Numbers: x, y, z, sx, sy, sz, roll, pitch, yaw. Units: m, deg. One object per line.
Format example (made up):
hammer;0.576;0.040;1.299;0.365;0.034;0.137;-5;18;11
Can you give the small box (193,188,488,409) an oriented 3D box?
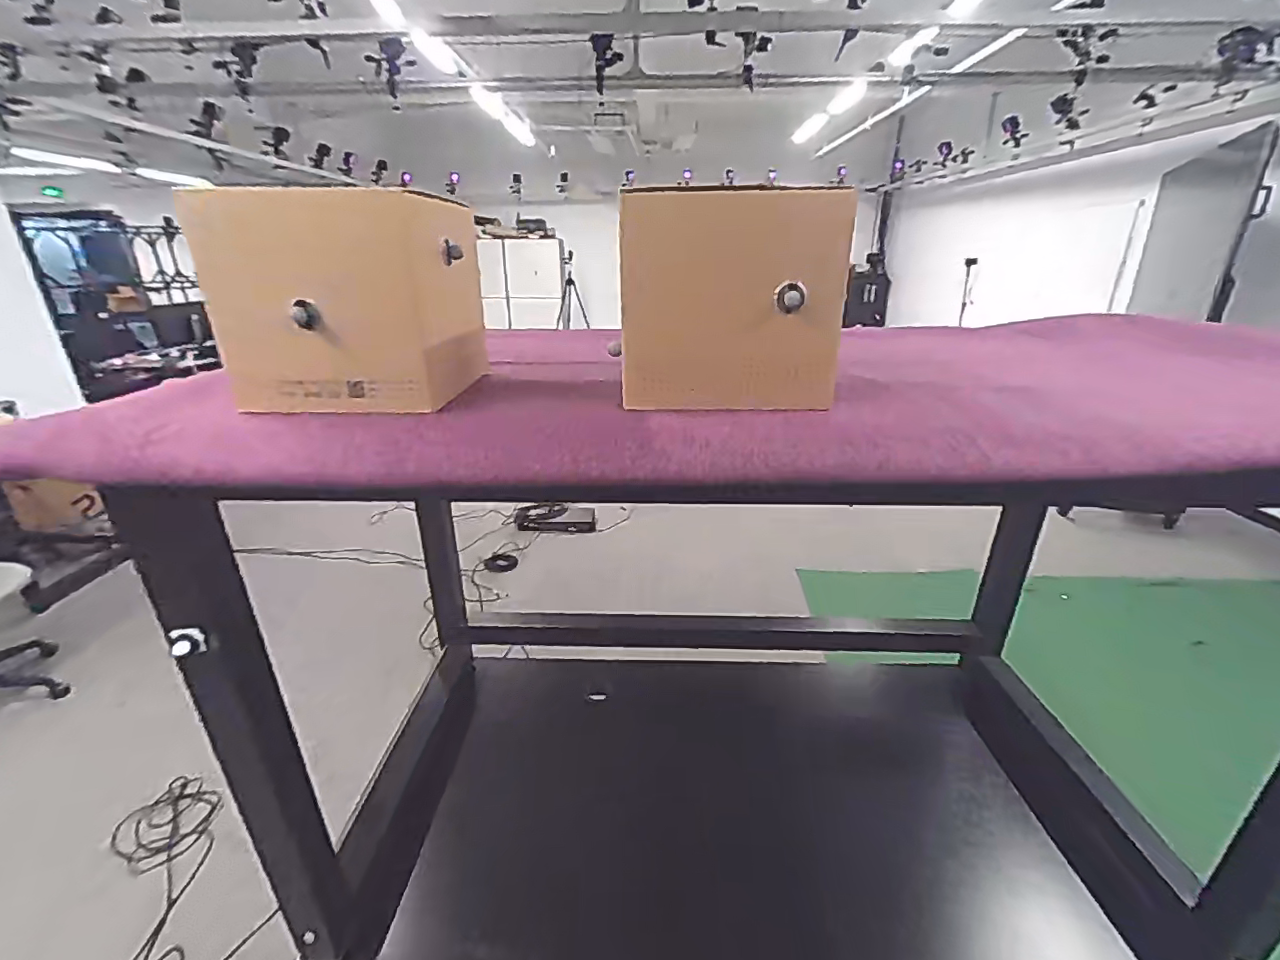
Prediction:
small box;-0.246;-0.166;0.501;0.168;0.176;0.179;1;22;0

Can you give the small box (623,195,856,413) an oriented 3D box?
small box;0.076;-0.162;0.504;0.179;0.176;0.168;-1;21;0
